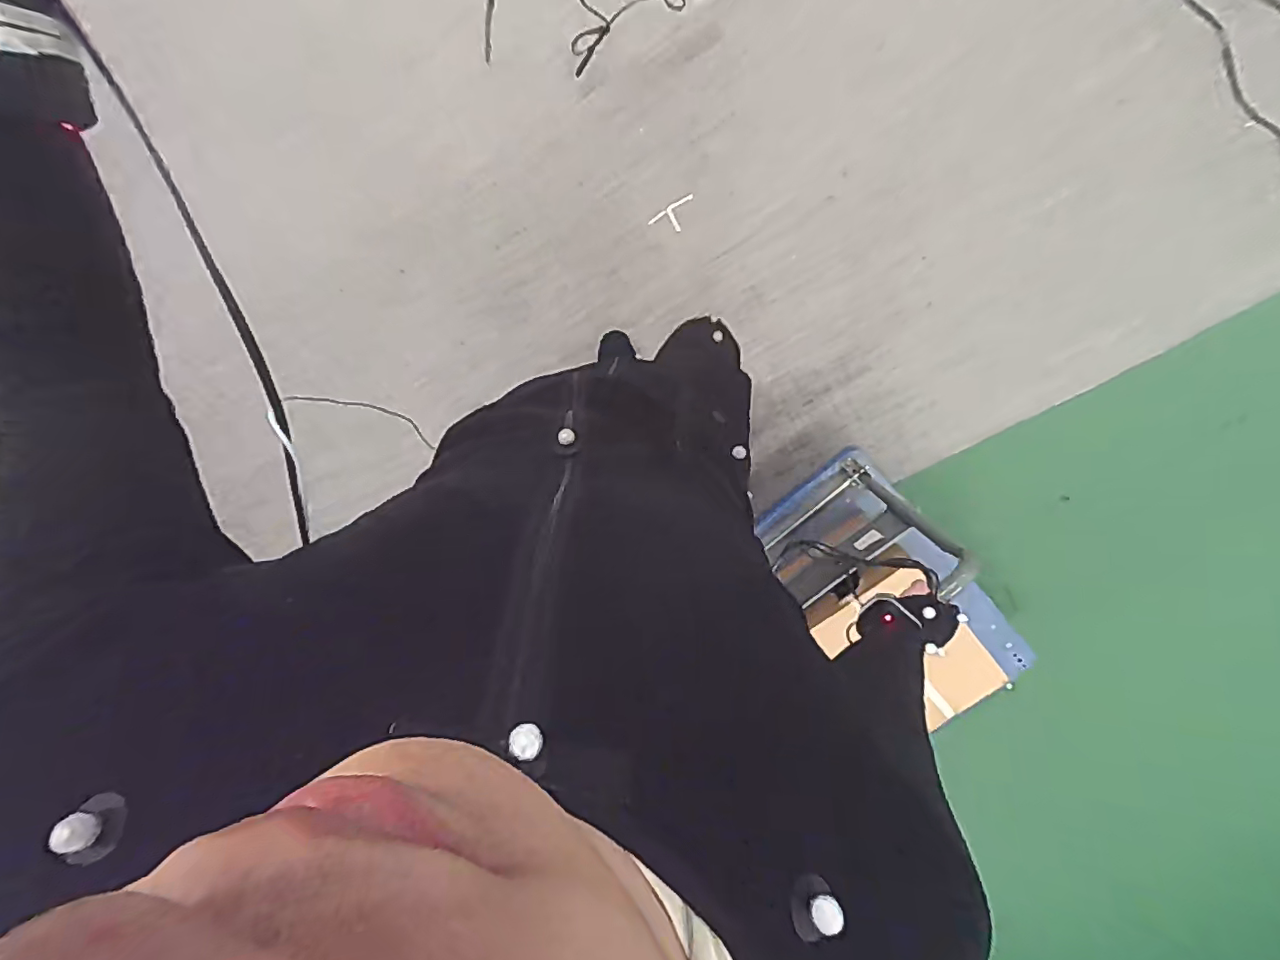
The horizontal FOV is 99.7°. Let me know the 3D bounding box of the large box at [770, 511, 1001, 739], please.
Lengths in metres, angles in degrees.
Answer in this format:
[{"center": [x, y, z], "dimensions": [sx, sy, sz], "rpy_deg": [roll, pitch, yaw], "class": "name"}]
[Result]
[{"center": [0.602, 0.356, 1.392], "dimensions": [0.320, 0.320, 0.408], "rpy_deg": [-39, 102, 13], "class": "large box"}]
